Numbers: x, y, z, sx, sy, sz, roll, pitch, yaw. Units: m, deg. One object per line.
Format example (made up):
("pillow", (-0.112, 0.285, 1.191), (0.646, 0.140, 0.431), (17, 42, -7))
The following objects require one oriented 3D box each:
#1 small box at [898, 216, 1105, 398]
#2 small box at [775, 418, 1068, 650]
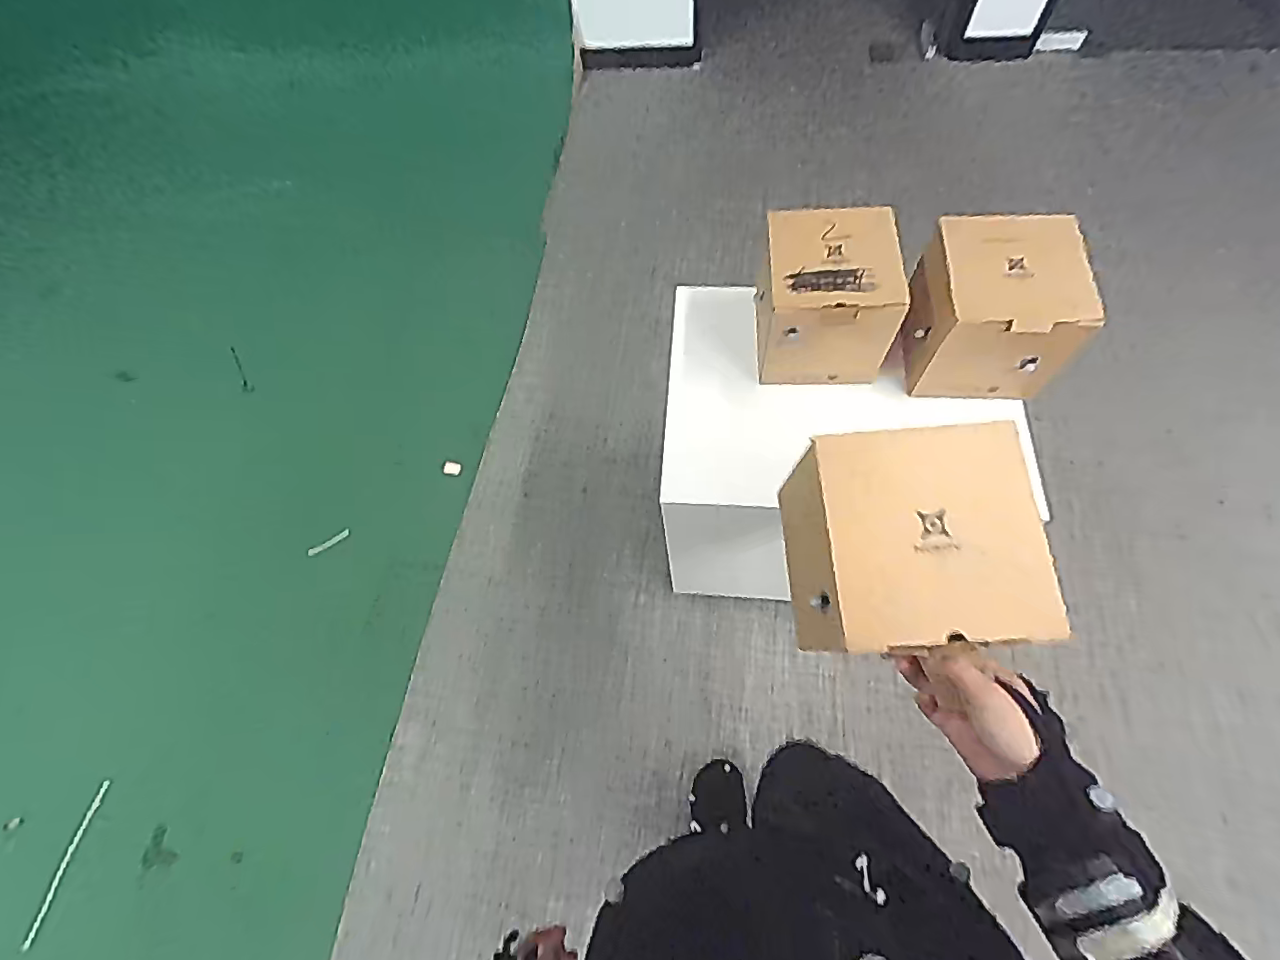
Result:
("small box", (0.469, -0.227, 0.735), (0.168, 0.176, 0.179), (3, 66, 6))
("small box", (0.230, 0.060, 0.497), (0.168, 0.176, 0.179), (-5, 74, 2))
